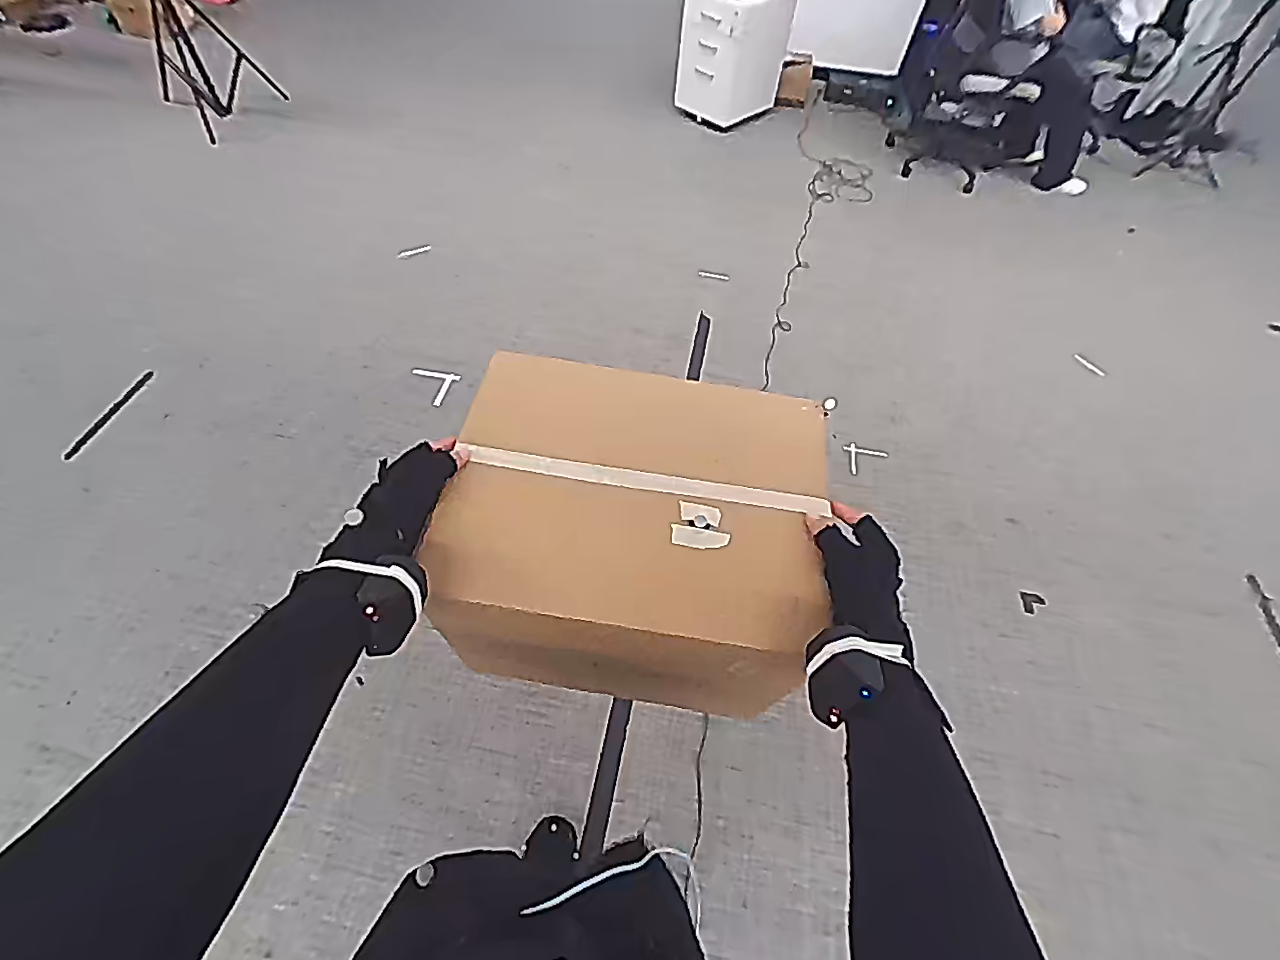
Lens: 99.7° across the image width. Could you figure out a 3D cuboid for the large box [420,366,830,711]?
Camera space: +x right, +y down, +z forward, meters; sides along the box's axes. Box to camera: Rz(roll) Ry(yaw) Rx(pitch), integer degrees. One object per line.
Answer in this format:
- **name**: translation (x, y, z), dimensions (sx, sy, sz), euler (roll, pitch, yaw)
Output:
- **large box**: translation (-0.010, 0.091, 0.717), dimensions (0.408, 0.320, 0.320), euler (9, 57, 0)
